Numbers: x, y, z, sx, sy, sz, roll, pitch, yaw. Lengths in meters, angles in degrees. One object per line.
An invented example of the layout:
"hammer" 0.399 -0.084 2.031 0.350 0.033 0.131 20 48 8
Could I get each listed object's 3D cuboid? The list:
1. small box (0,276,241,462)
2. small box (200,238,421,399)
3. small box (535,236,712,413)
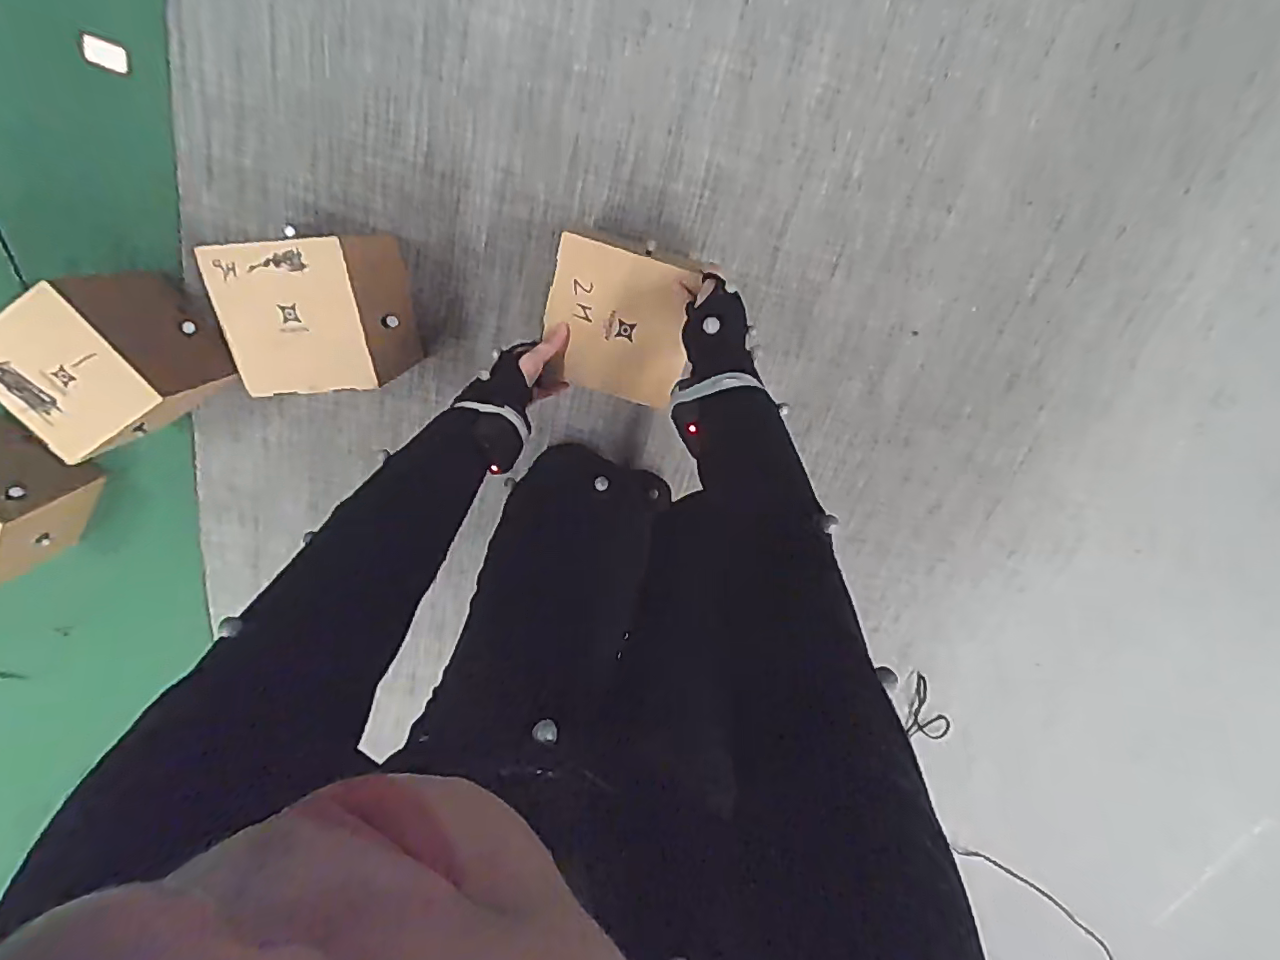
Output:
"small box" -0.701 -0.156 0.731 0.179 0.176 0.168 -28 112 10
"small box" -0.409 -0.218 0.712 0.168 0.176 0.179 -3 115 0
"small box" -0.020 -0.210 0.704 0.179 0.176 0.168 16 116 -4
